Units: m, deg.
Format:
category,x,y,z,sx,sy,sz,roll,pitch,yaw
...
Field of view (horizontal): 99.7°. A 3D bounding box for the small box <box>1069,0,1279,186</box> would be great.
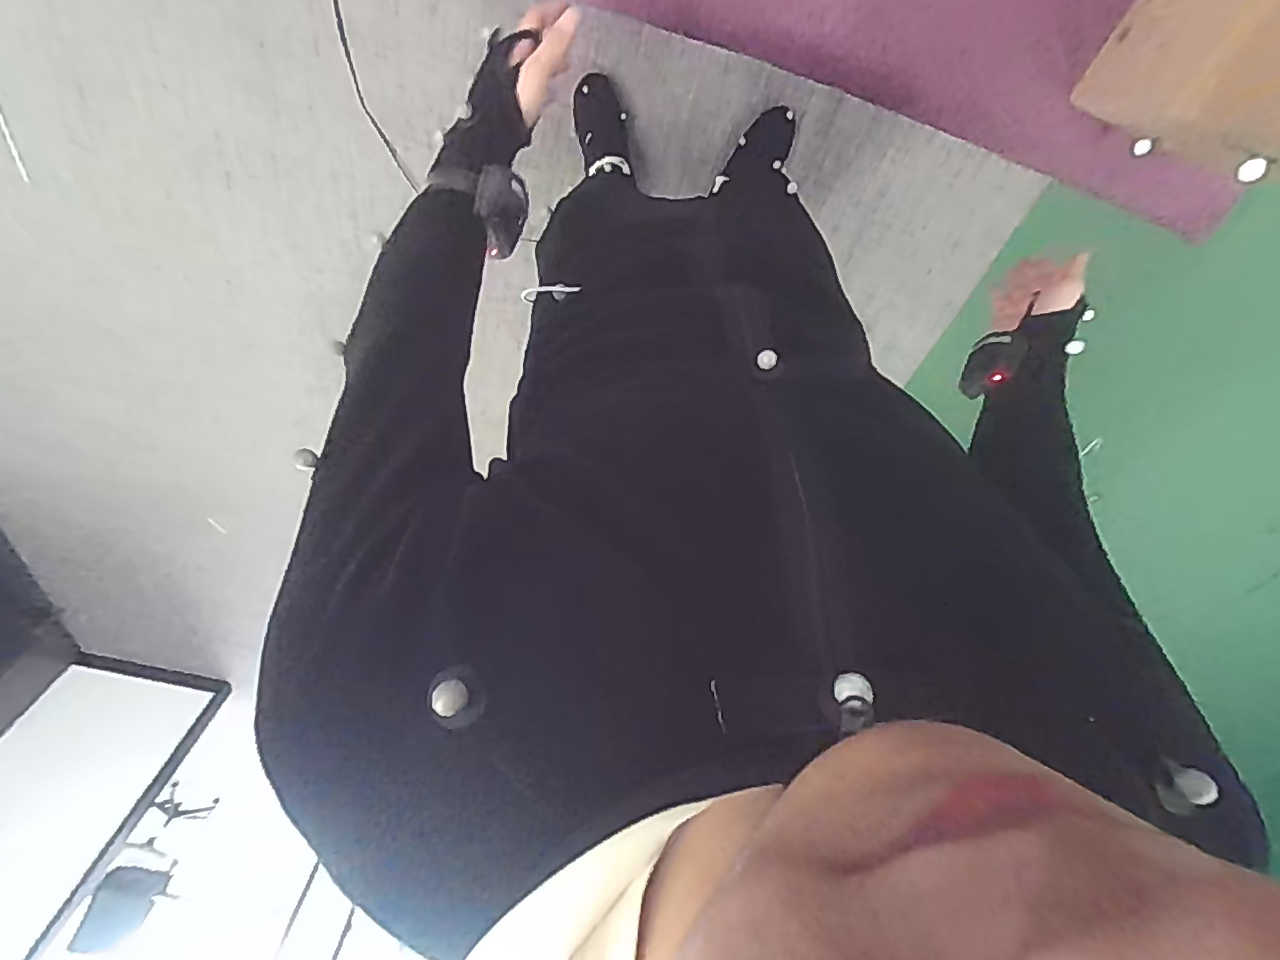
category,x,y,z,sx,sy,sz,roll,pitch,yaw
small box,0.569,-0.403,0.501,0.179,0.176,0.168,18,126,-9
